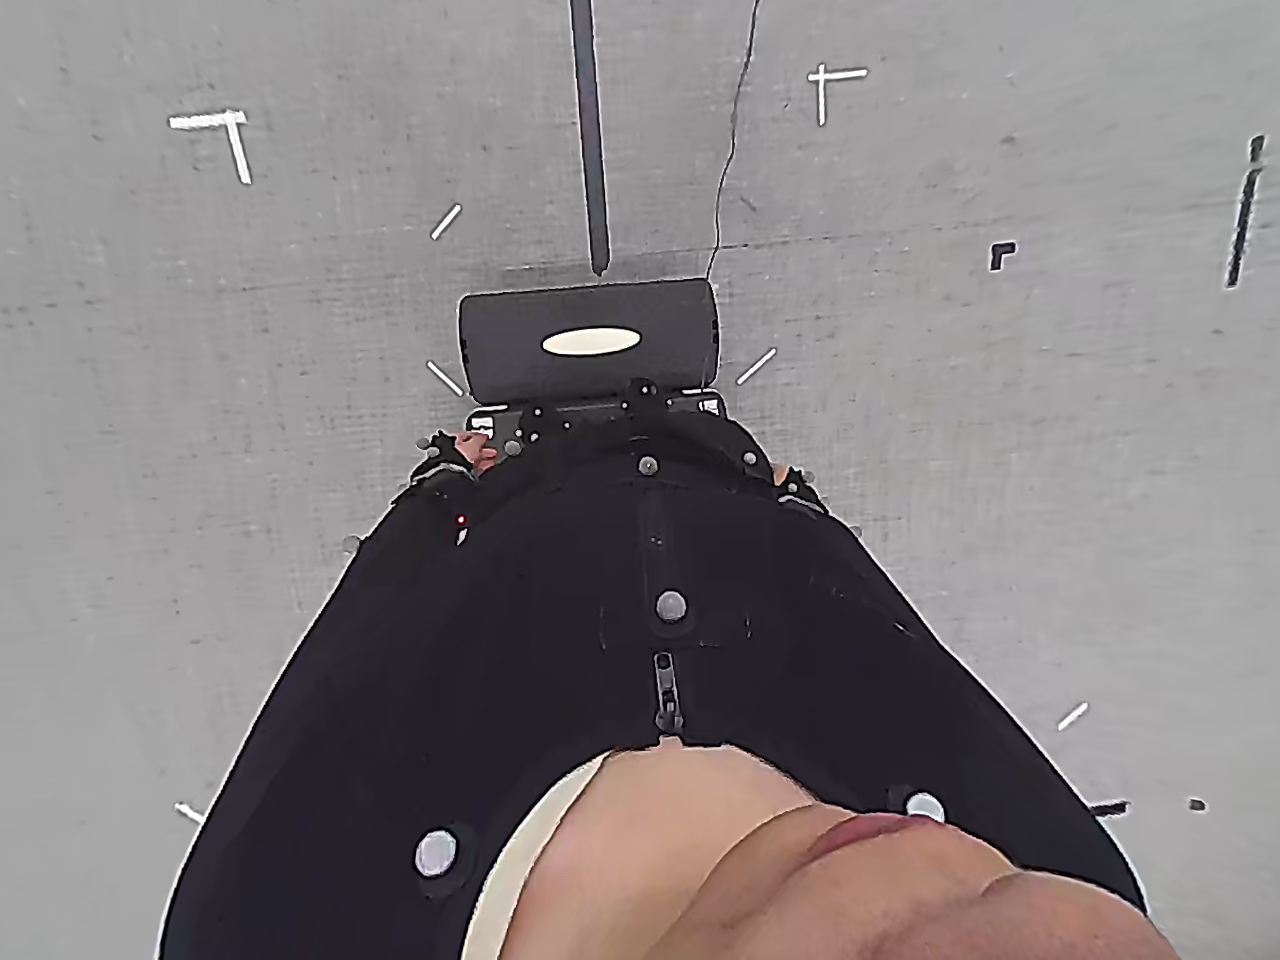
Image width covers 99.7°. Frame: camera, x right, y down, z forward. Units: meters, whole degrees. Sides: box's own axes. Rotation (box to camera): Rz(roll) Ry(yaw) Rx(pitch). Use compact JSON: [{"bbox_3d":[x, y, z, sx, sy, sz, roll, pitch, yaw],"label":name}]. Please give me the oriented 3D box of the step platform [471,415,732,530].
[{"bbox_3d":[-0.098,-0.022,1.452,0.684,0.204,0.286,-1,100,-3],"label":"step platform"}]
